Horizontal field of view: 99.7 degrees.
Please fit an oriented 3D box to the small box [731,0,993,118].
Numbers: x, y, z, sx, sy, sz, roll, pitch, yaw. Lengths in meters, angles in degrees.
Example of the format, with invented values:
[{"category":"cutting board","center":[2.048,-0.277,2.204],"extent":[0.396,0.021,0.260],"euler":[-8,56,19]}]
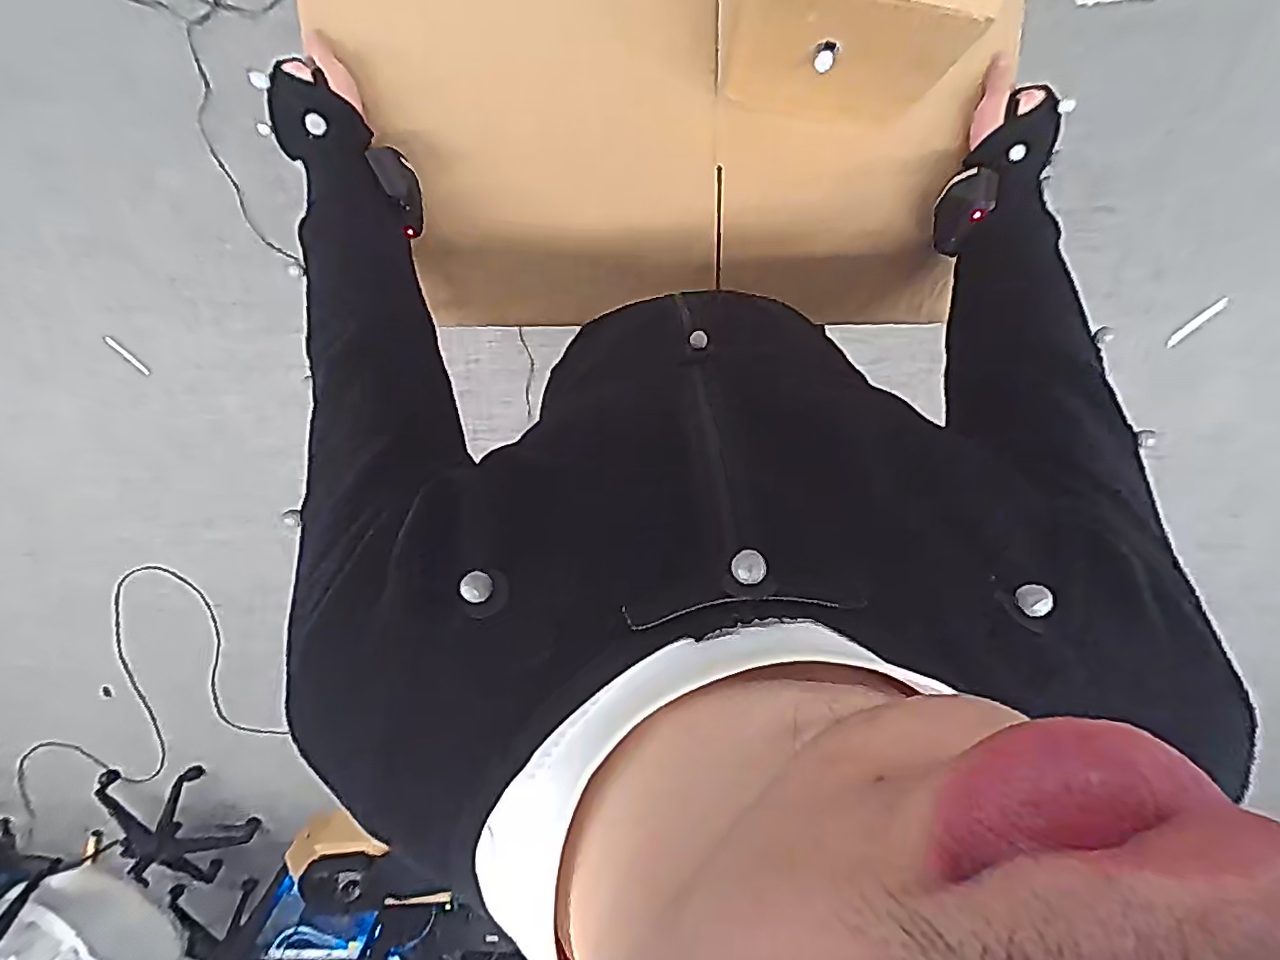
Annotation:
[{"category":"small box","center":[0.183,-0.441,0.457],"extent":[0.179,0.176,0.168],"euler":[9,100,-1]}]
